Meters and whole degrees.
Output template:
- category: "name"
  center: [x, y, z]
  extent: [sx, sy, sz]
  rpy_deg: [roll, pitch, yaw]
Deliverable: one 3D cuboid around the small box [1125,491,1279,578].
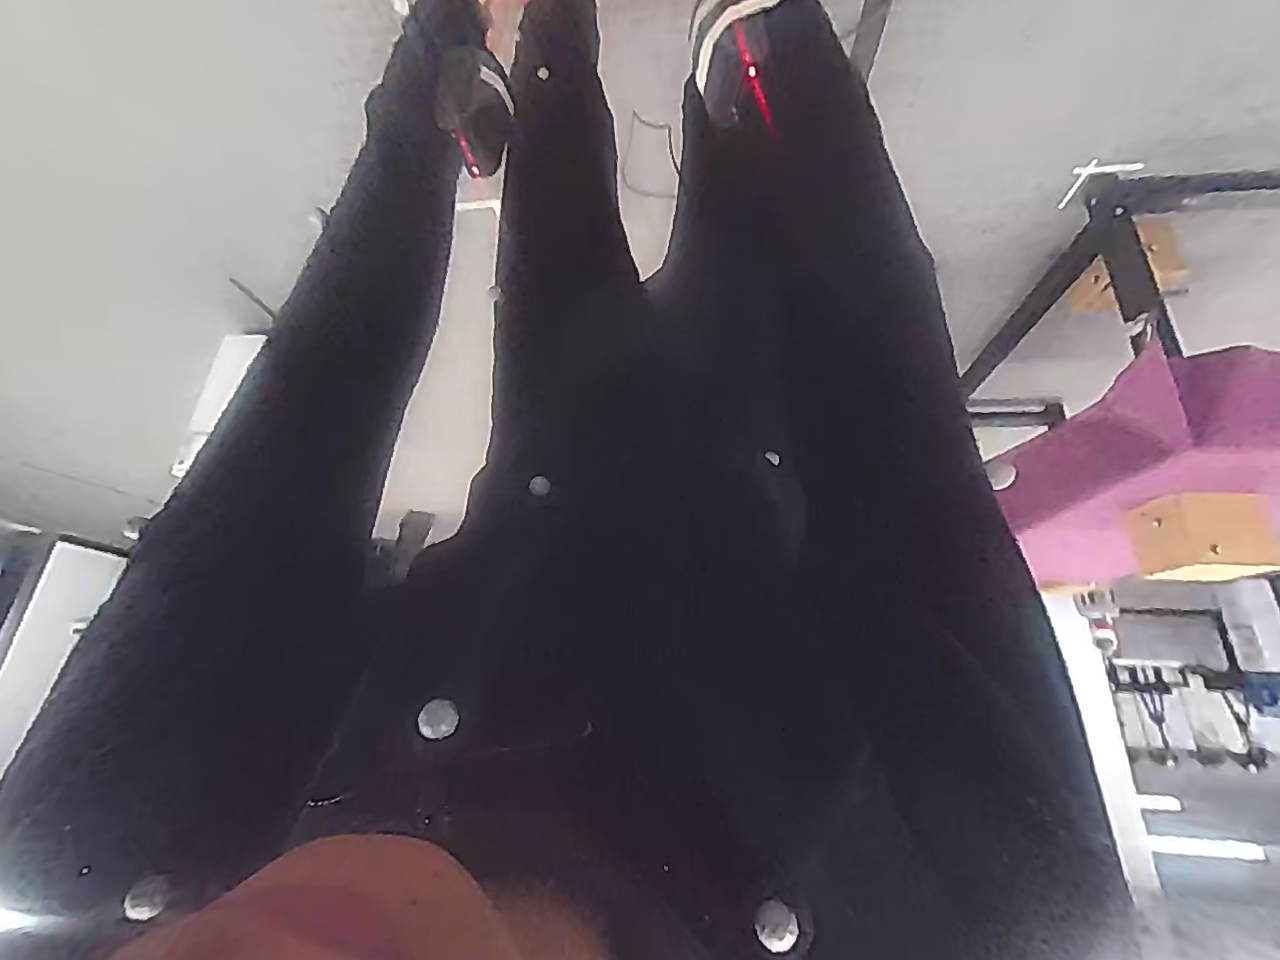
- category: "small box"
  center: [1.289, 0.128, 1.250]
  extent: [0.179, 0.176, 0.168]
  rpy_deg: [1, 159, 7]
